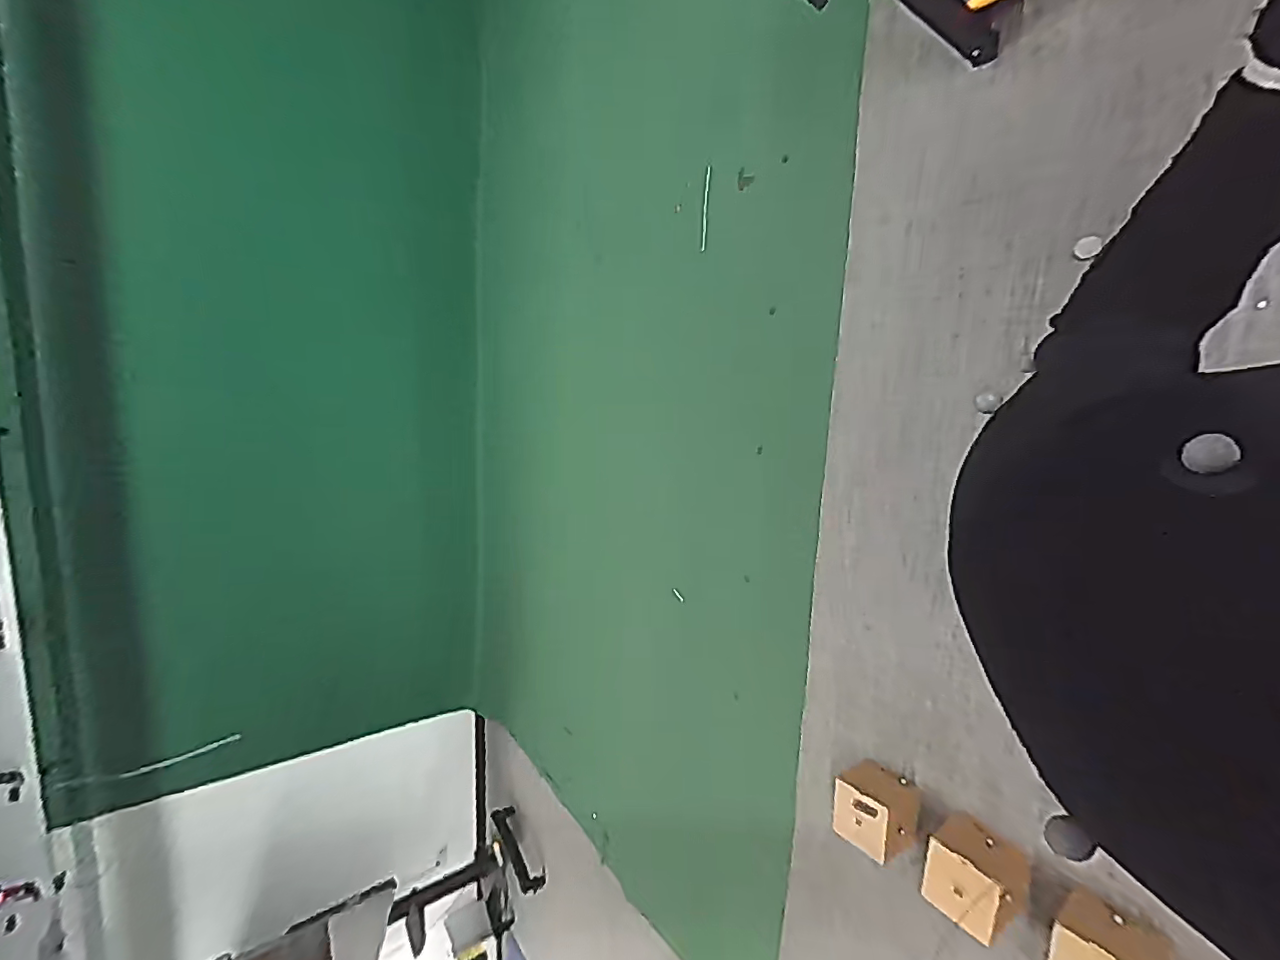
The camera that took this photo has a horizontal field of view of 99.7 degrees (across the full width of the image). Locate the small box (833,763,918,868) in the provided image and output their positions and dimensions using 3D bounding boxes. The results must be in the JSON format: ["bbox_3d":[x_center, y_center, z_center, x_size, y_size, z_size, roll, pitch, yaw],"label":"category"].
[{"bbox_3d":[0.693,0.972,1.586,0.168,0.176,0.179,11,102,54],"label":"small box"}]

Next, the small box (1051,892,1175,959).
[{"bbox_3d":[1.005,1.048,1.155,0.168,0.176,0.179,13,102,52],"label":"small box"}]

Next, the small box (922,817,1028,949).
[{"bbox_3d":[0.850,1.011,1.371,0.168,0.176,0.179,16,105,53],"label":"small box"}]
